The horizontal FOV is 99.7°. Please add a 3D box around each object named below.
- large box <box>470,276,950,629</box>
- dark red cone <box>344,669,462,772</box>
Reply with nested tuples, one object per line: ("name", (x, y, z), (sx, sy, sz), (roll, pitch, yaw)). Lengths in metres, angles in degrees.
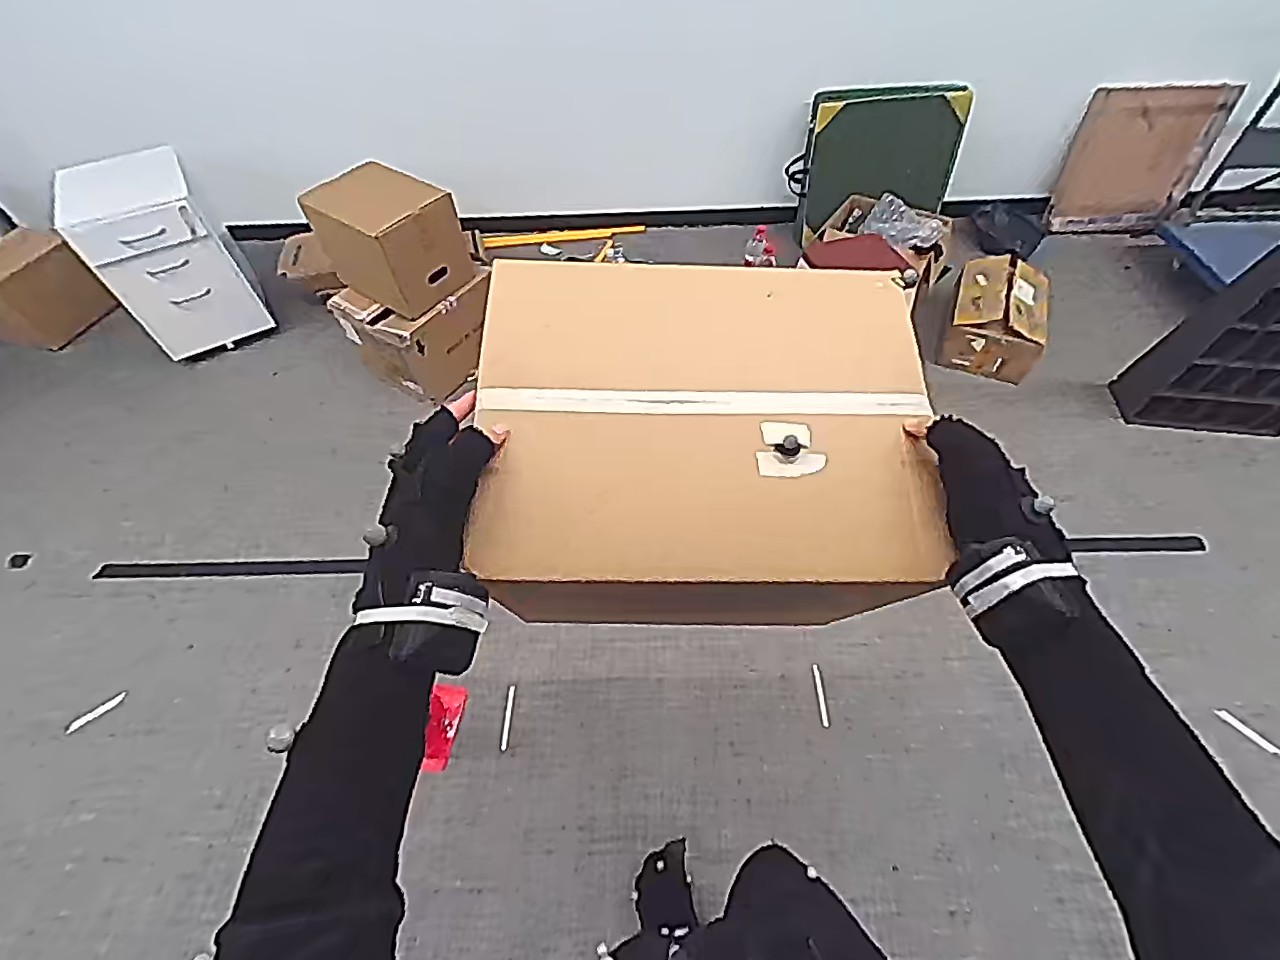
("large box", (0.050, -0.005, 0.629), (0.408, 0.320, 0.320), (1, 69, -3))
("dark red cone", (-0.560, 0.509, 1.210), (0.201, 0.394, 0.202), (4, 54, 4))
